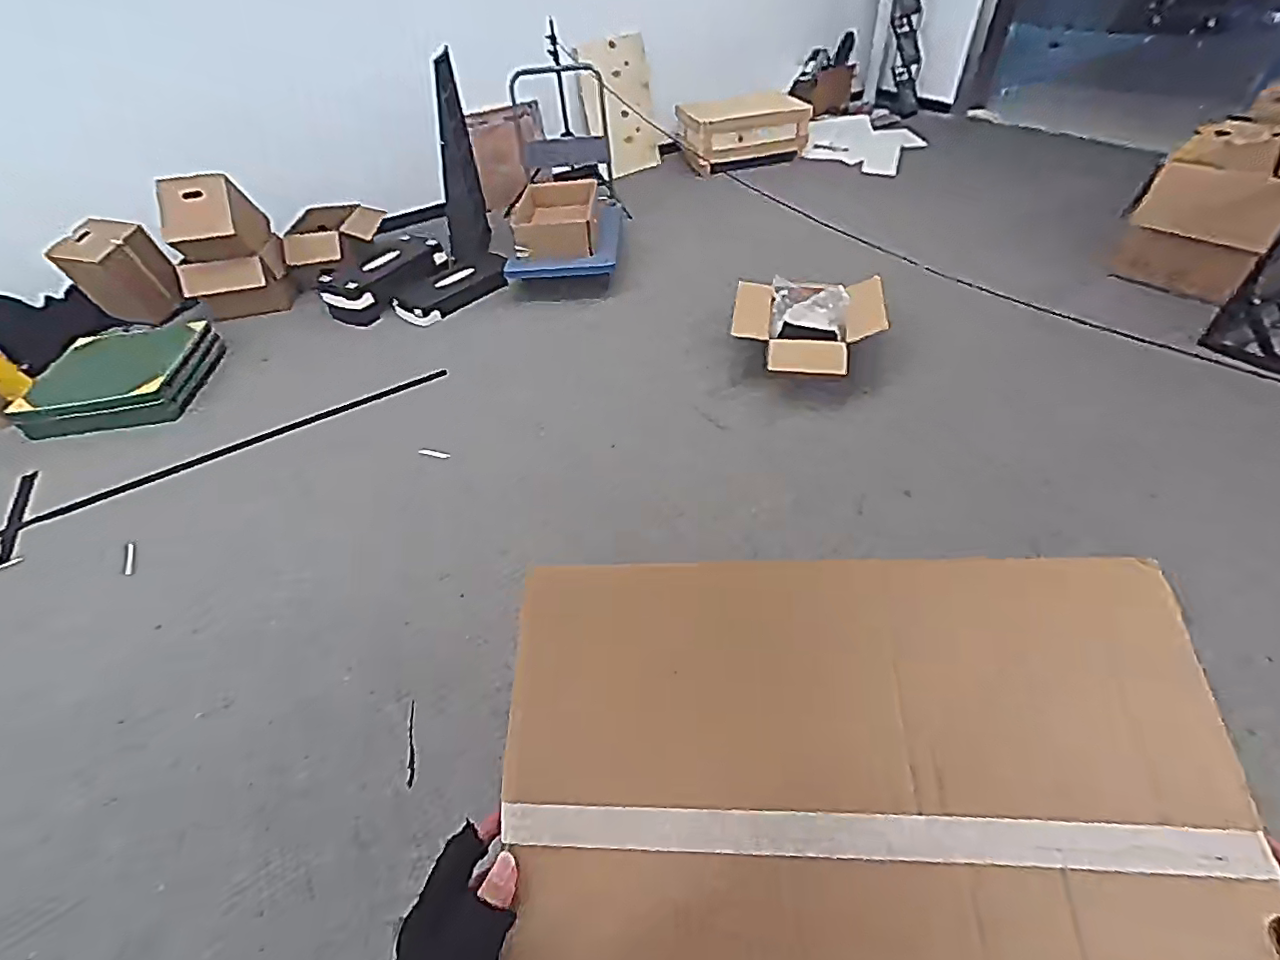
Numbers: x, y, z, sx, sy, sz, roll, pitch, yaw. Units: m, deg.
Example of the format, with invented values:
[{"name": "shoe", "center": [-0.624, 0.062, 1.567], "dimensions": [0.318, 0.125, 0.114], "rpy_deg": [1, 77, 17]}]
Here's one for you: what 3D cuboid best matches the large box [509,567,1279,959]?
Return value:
[{"name": "large box", "center": [0.139, 0.265, 0.447], "dimensions": [0.408, 0.320, 0.320], "rpy_deg": [-2, 67, 7]}]
